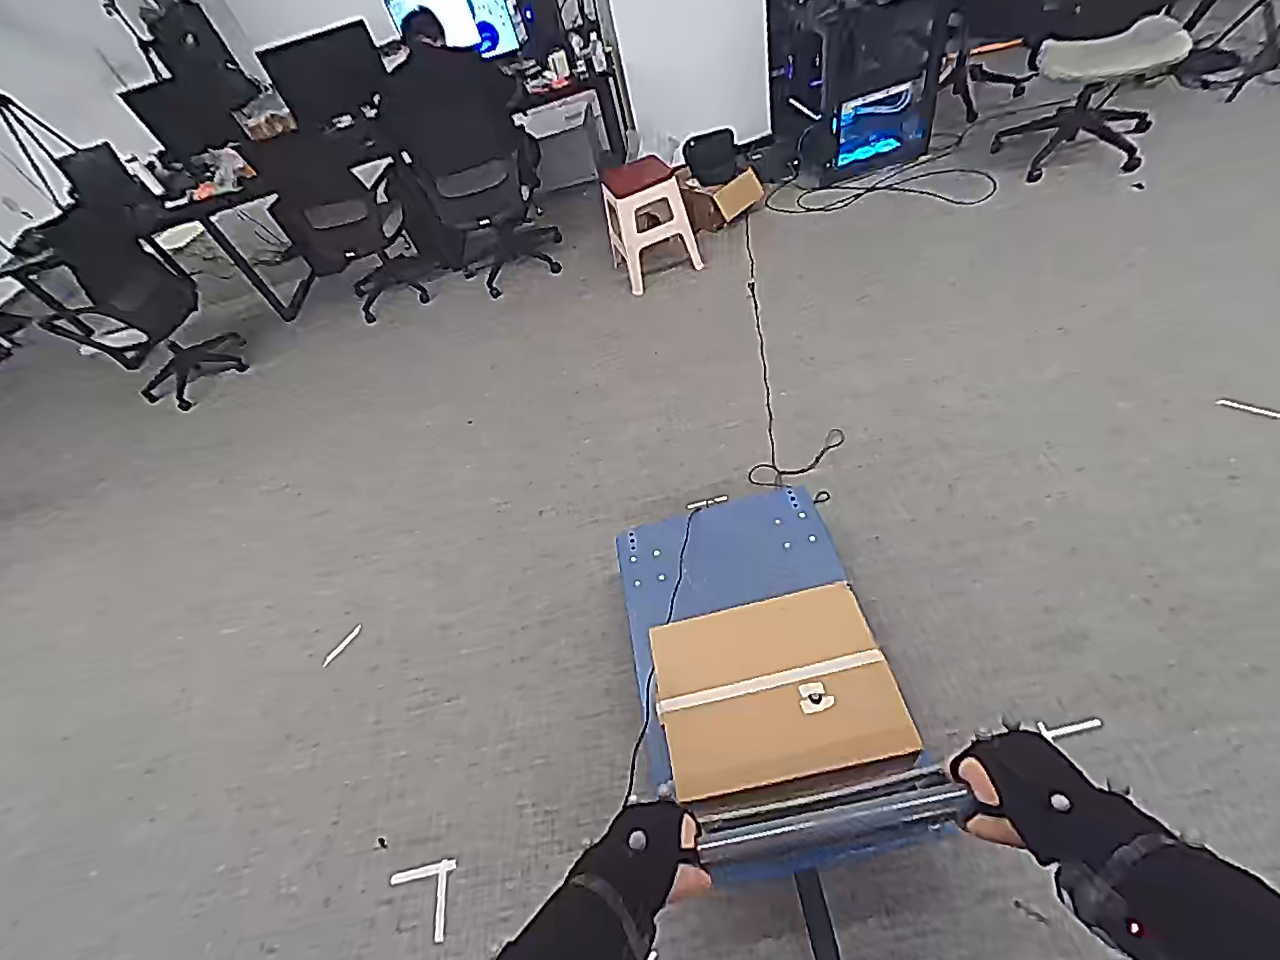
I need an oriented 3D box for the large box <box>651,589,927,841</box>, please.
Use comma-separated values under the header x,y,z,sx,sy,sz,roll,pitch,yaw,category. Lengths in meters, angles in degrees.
x,y,z,sx,sy,sz,roll,pitch,yaw,category
0.264,0.466,1.056,0.408,0.320,0.320,-15,49,4,large box
